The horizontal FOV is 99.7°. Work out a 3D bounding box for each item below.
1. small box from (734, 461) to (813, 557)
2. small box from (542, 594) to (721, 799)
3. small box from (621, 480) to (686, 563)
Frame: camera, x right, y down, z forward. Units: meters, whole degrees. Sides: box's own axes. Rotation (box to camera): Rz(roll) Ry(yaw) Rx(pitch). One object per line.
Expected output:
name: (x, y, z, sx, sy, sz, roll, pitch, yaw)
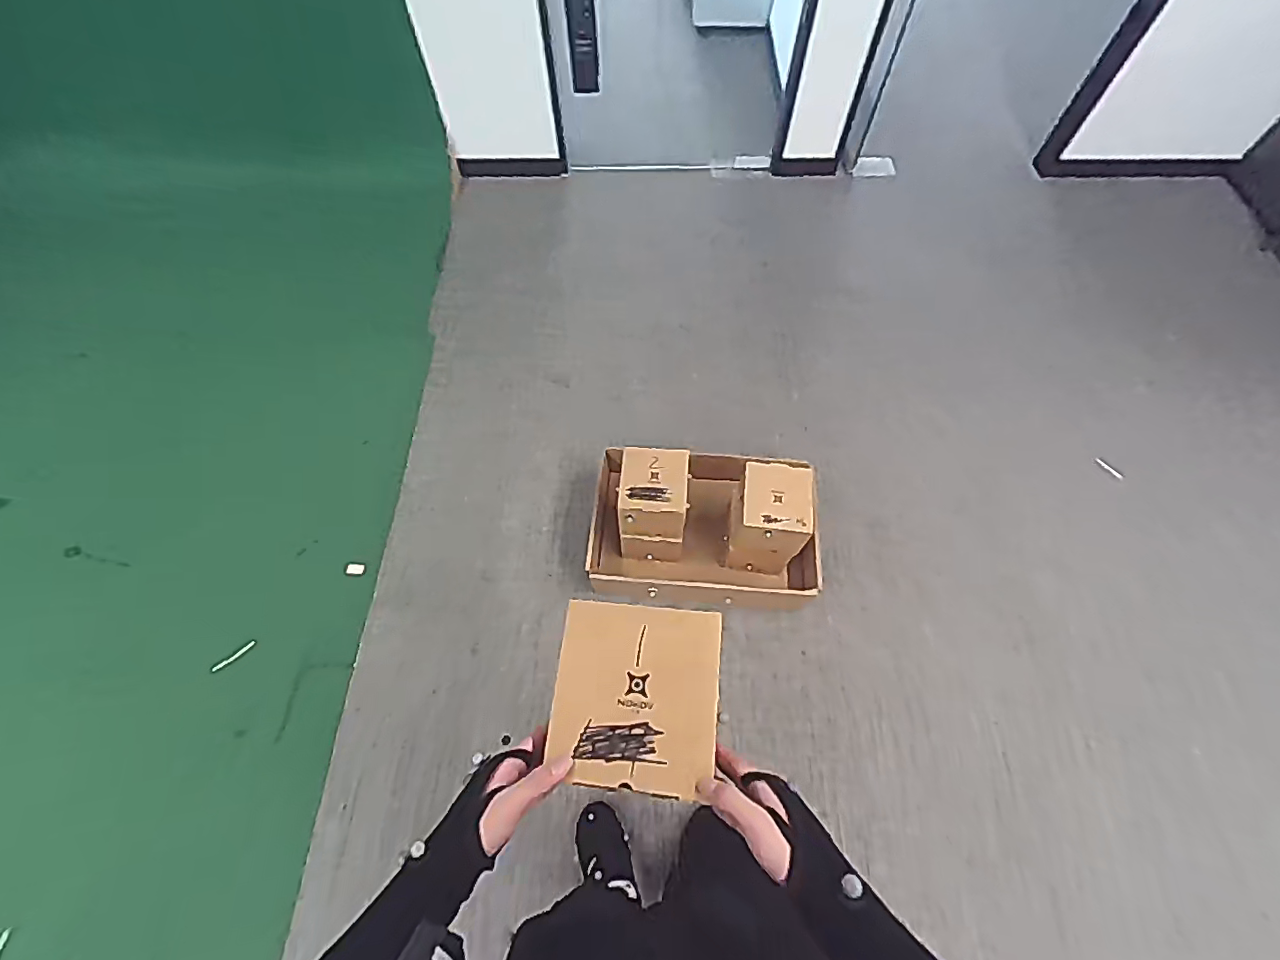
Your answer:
small box: (0.332, 0.075, 1.364, 0.168, 0.176, 0.179, 7, 62, 4)
small box: (0.004, 0.240, 0.611, 0.168, 0.176, 0.179, 4, 66, 8)
small box: (0.038, 0.120, 1.529, 0.168, 0.176, 0.179, 4, 62, 3)
